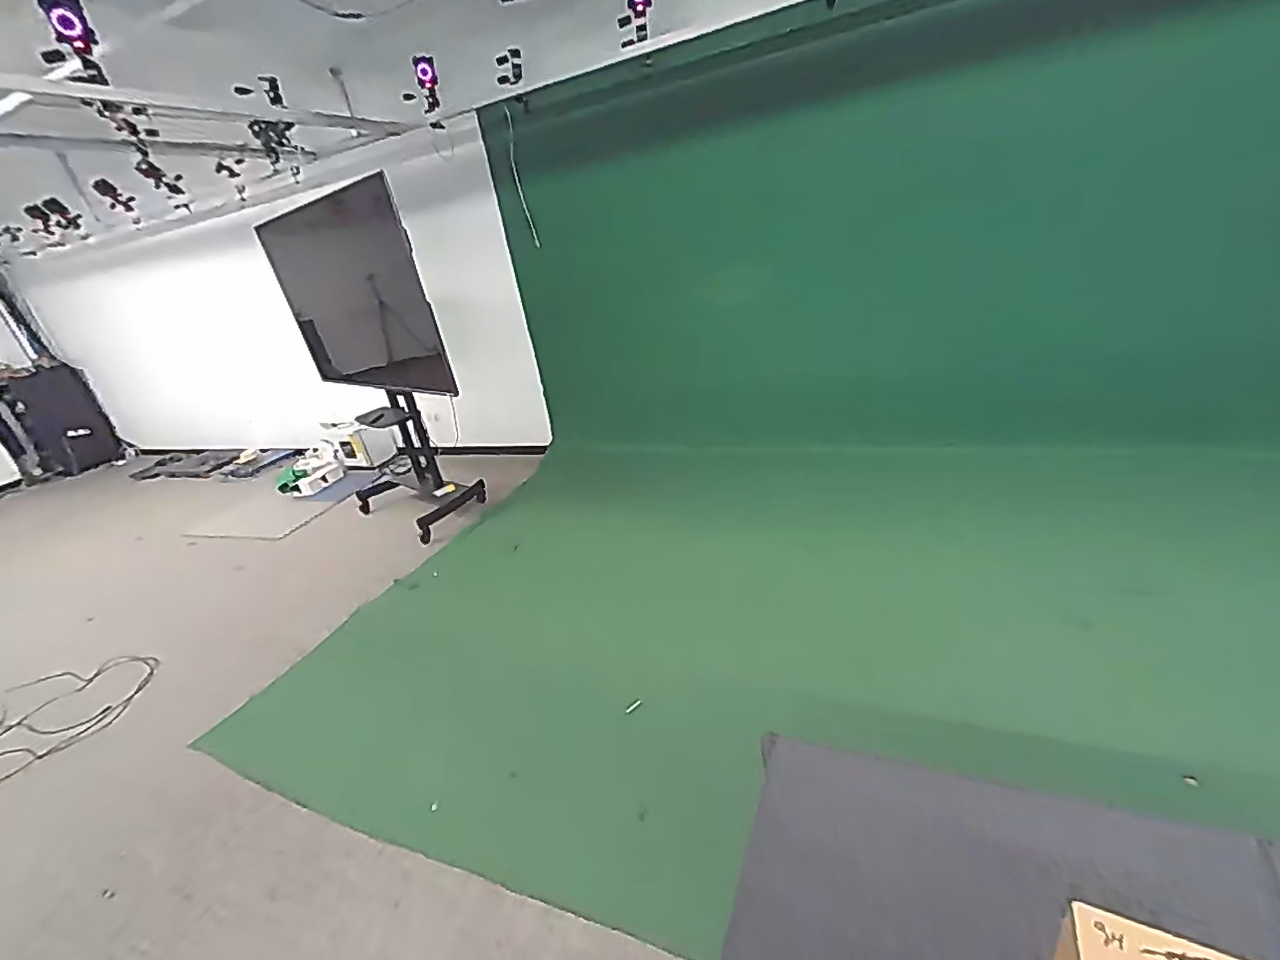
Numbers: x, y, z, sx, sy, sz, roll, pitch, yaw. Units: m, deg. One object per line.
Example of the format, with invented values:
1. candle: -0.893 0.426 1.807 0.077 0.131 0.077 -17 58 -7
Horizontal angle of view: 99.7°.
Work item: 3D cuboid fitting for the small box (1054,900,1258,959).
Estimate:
1. small box: 0.523 0.580 0.530 0.168 0.176 0.179 2 26 29
